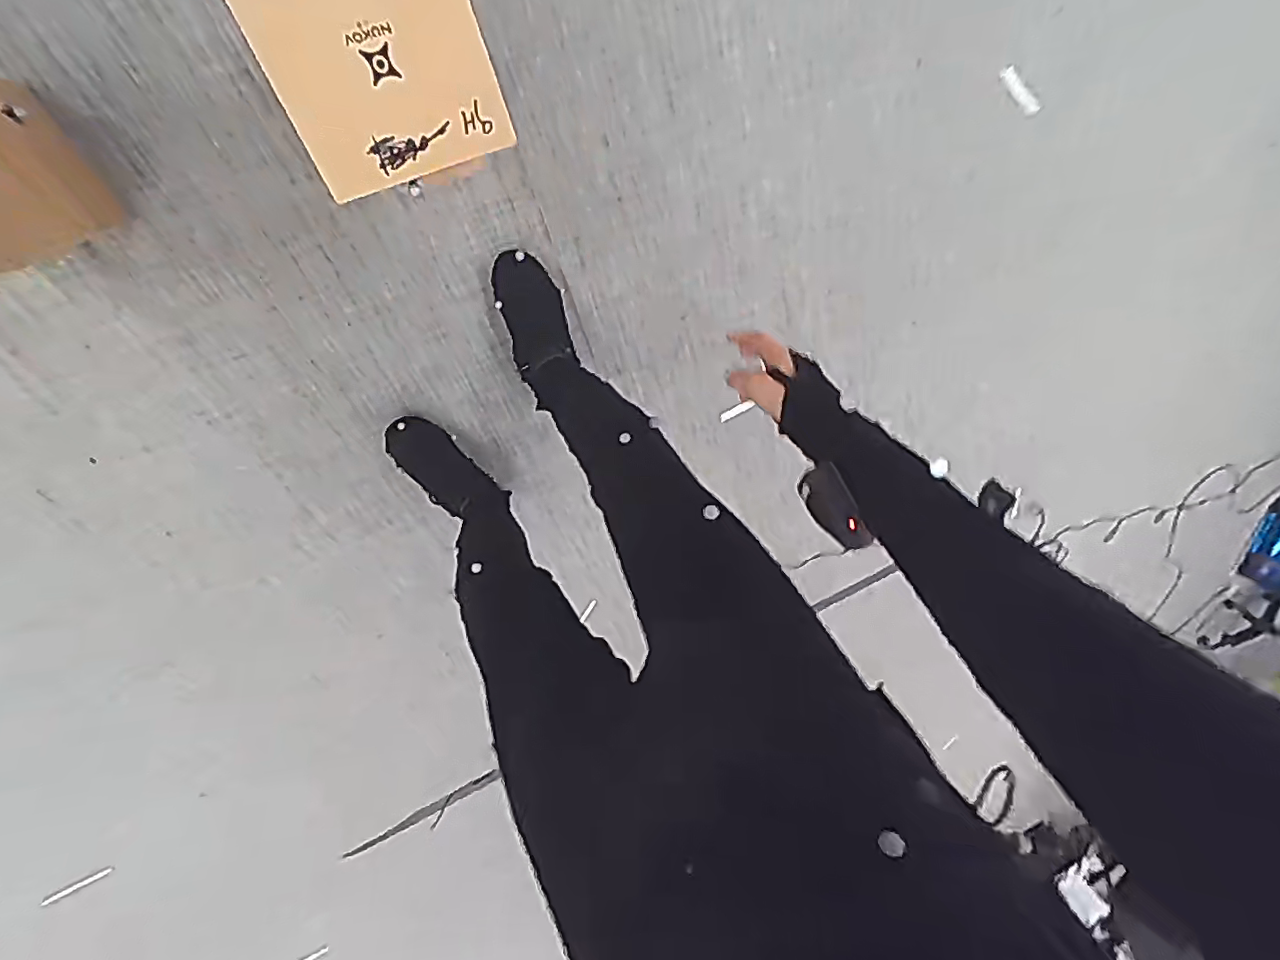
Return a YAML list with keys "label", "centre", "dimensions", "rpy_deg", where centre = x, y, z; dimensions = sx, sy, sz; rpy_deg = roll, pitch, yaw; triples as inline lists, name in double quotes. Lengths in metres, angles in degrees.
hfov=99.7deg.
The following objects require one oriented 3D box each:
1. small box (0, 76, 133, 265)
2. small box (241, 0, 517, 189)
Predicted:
- label: "small box"
  centre: [-0.793, -0.371, 0.657]
  dimensions: [0.168, 0.176, 0.179]
  rpy_deg: [-26, 126, -6]
- label: "small box"
  centre: [-0.230, -0.380, 0.485]
  dimensions: [0.168, 0.176, 0.179]
  rpy_deg: [-24, 125, -9]
